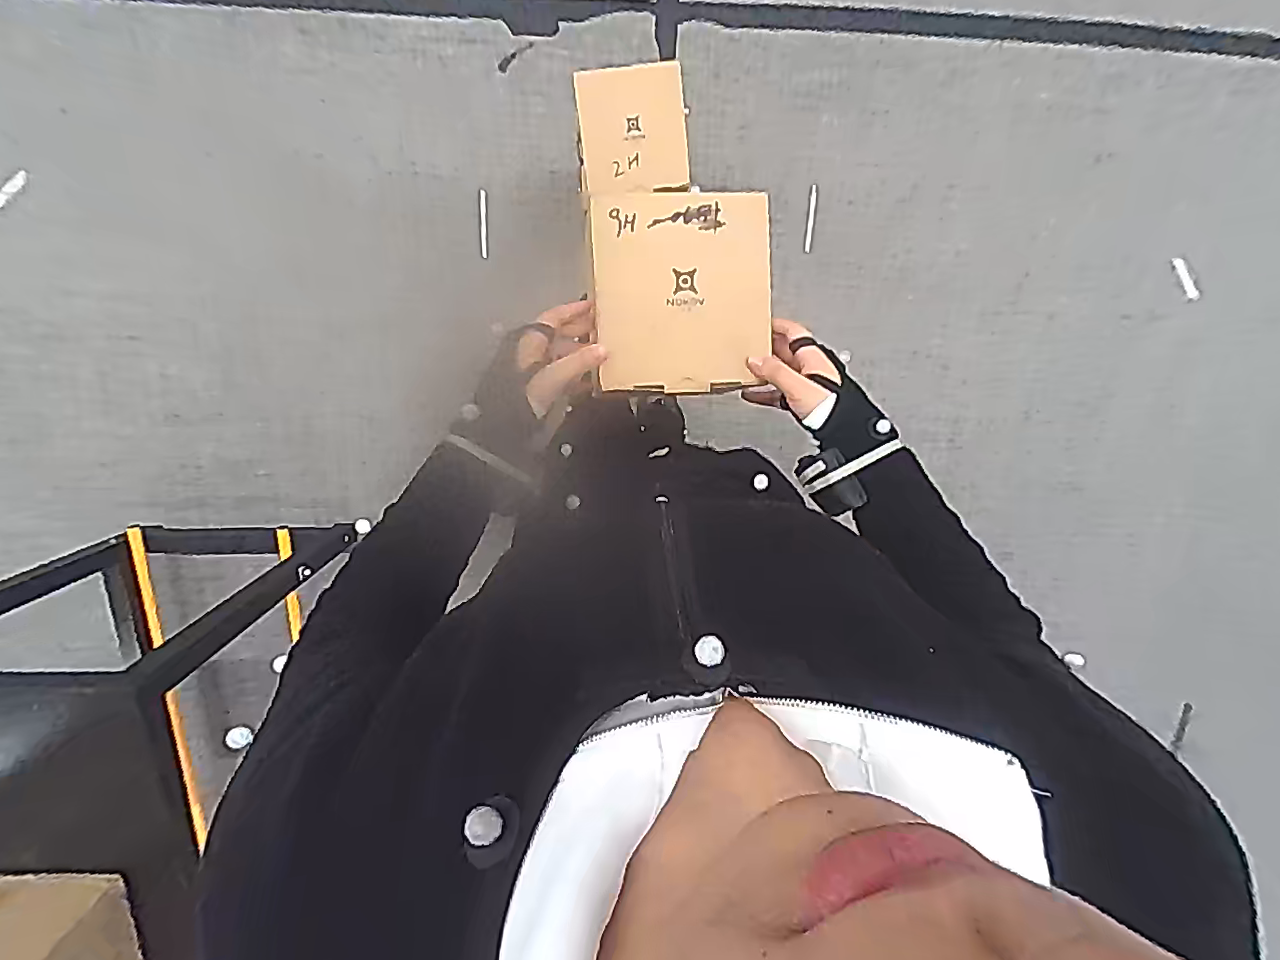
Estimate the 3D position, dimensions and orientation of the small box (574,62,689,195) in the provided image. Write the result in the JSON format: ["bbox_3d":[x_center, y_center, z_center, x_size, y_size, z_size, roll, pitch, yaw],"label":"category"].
[{"bbox_3d":[-0.014,-0.557,0.909,0.168,0.176,0.179,-7,106,0],"label":"small box"}]

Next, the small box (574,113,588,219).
[{"bbox_3d":[-0.030,-0.604,1.066,0.179,0.176,0.168,-3,106,-2],"label":"small box"}]

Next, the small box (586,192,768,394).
[{"bbox_3d":[0.029,-0.182,0.572,0.168,0.176,0.179,-3,98,-6],"label":"small box"}]
